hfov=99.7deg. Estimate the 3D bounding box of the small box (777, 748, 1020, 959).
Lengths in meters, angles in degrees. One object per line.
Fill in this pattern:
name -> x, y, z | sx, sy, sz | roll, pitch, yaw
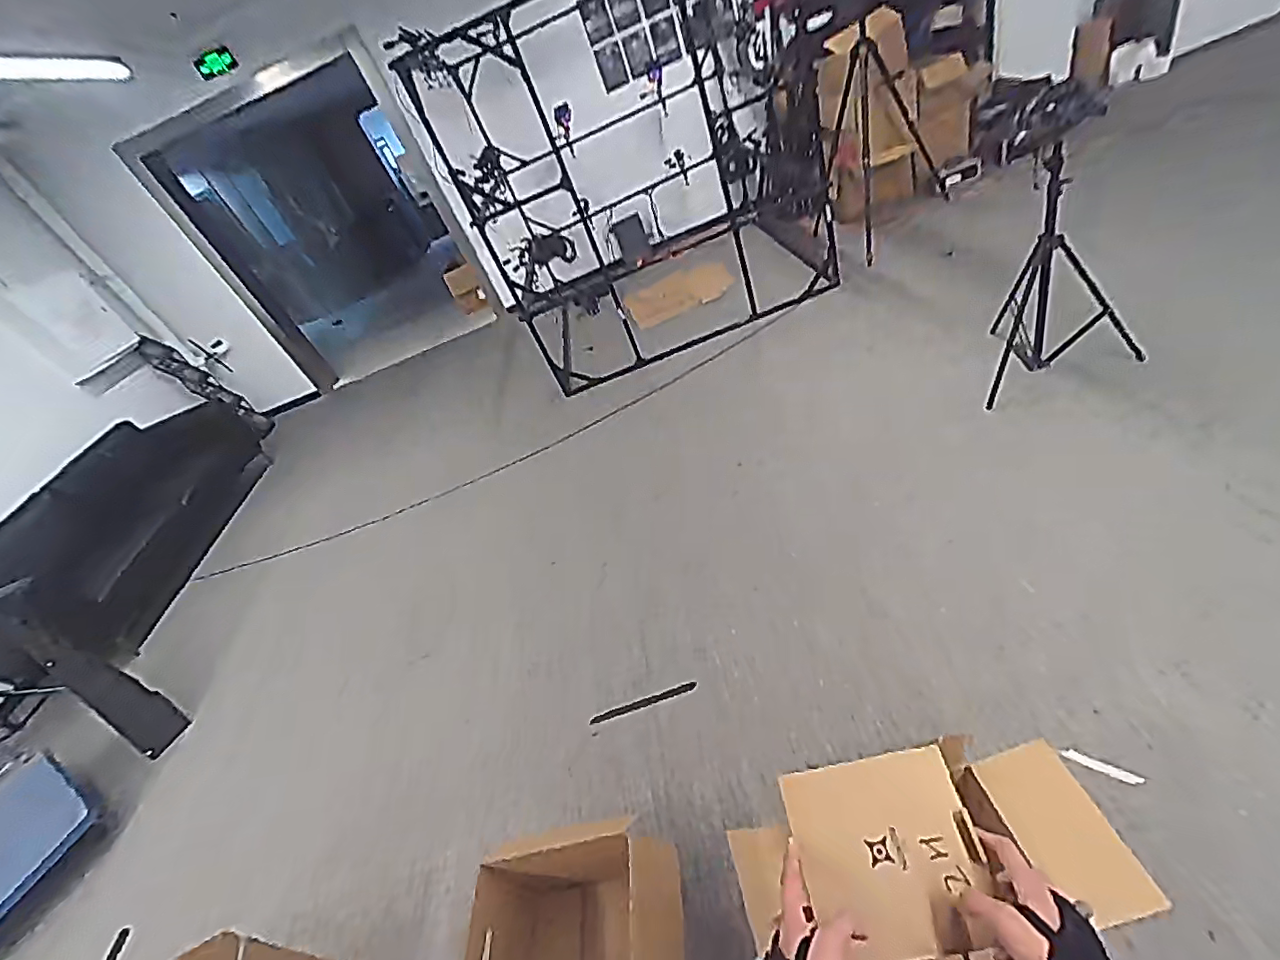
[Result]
small box -> 0.259, 0.410, 0.592 | 0.179, 0.176, 0.168 | -13, 54, 4
